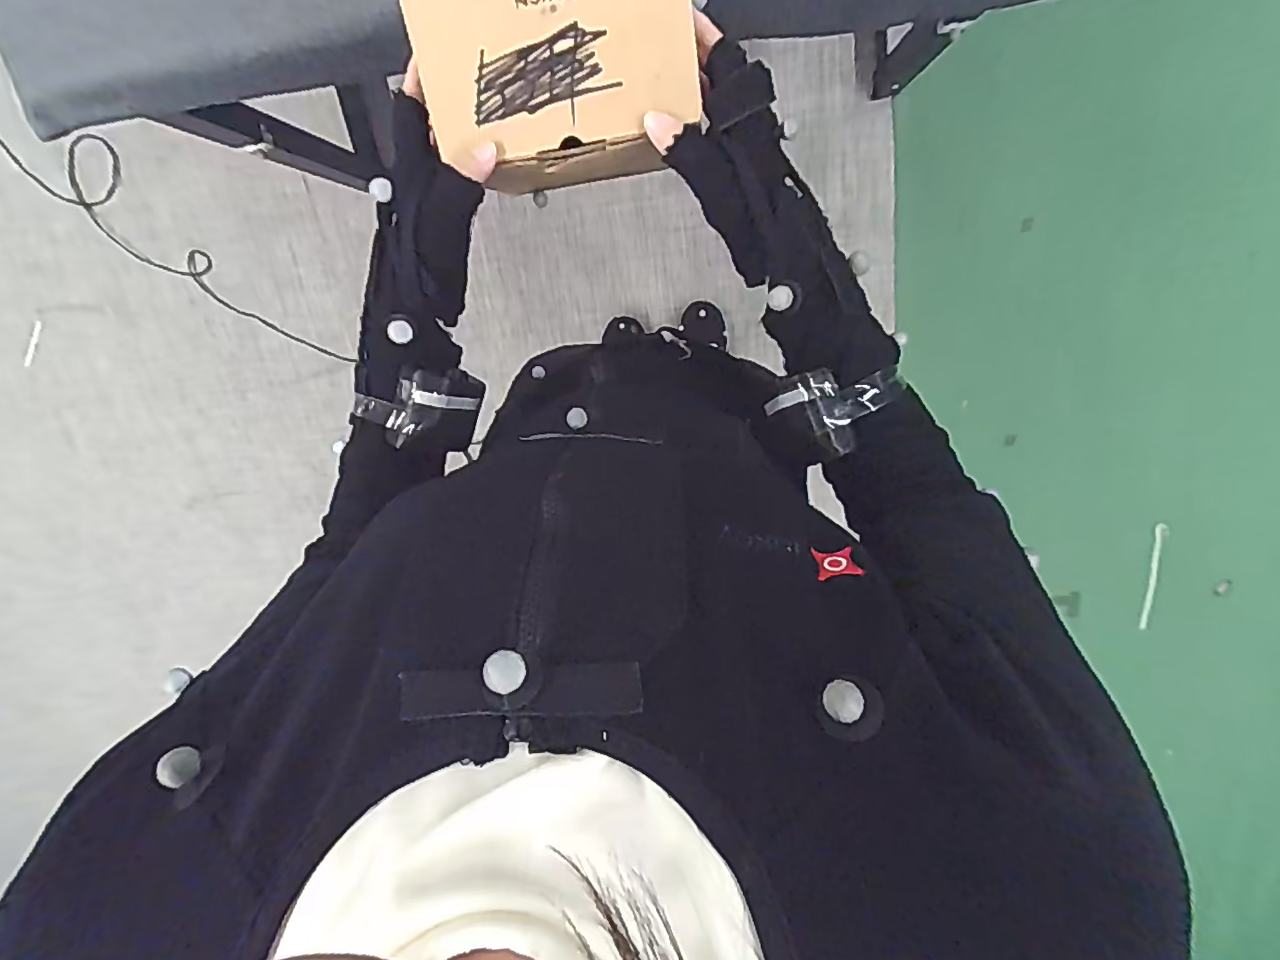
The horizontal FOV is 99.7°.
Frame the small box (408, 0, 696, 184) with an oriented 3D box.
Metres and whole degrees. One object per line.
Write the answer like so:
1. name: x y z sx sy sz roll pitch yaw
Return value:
1. small box: -0.051 -0.319 0.381 0.168 0.176 0.179 -6 112 4
